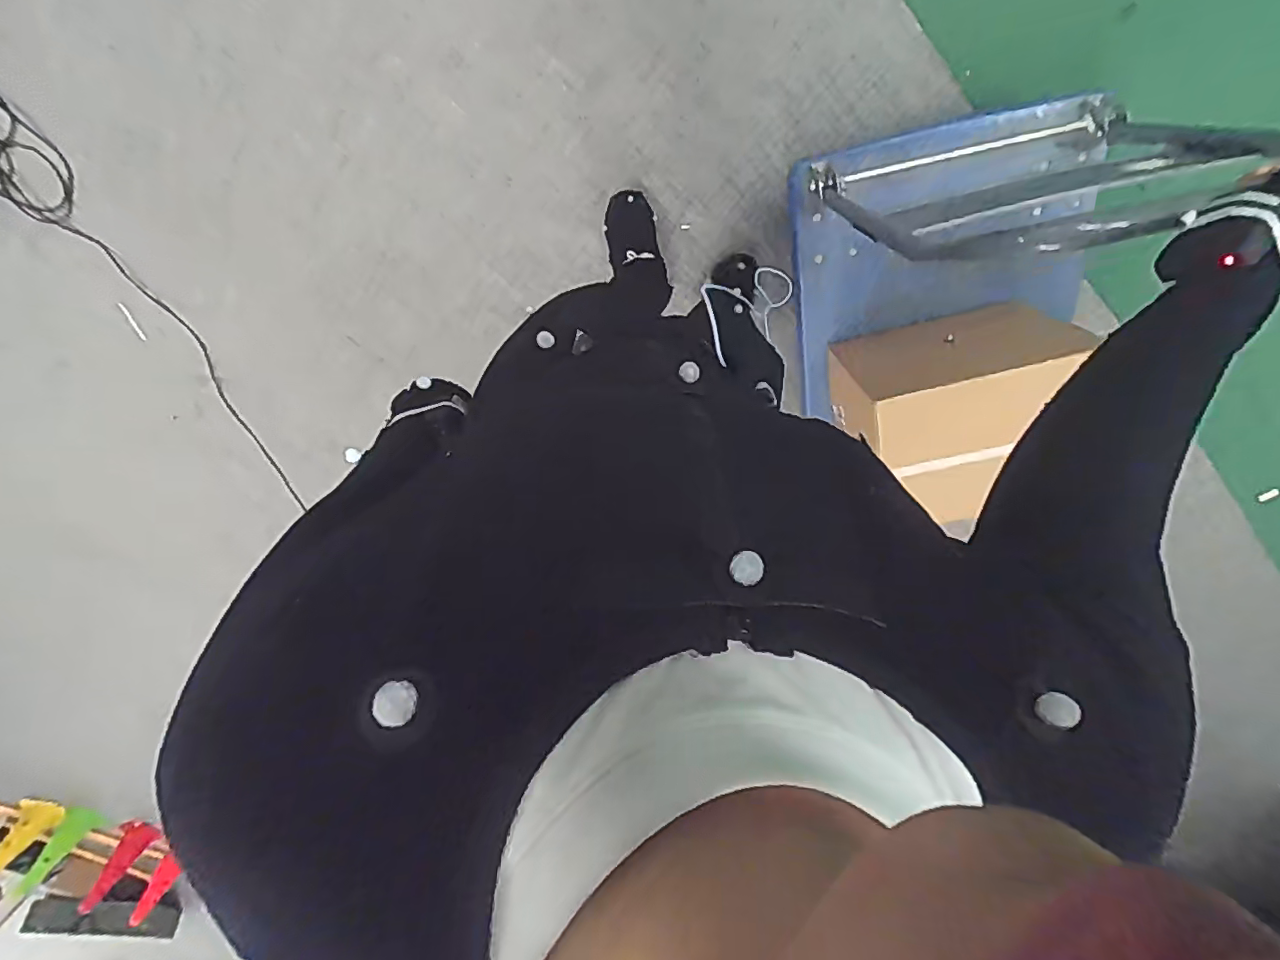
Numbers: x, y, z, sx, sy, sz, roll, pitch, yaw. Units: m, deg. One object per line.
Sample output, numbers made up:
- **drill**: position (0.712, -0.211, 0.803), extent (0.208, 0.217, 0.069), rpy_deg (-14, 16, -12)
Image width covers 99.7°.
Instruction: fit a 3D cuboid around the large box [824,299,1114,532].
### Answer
- **large box**: position (0.643, -0.142, 1.129), extent (0.408, 0.320, 0.320), rpy_deg (-14, 121, 8)
